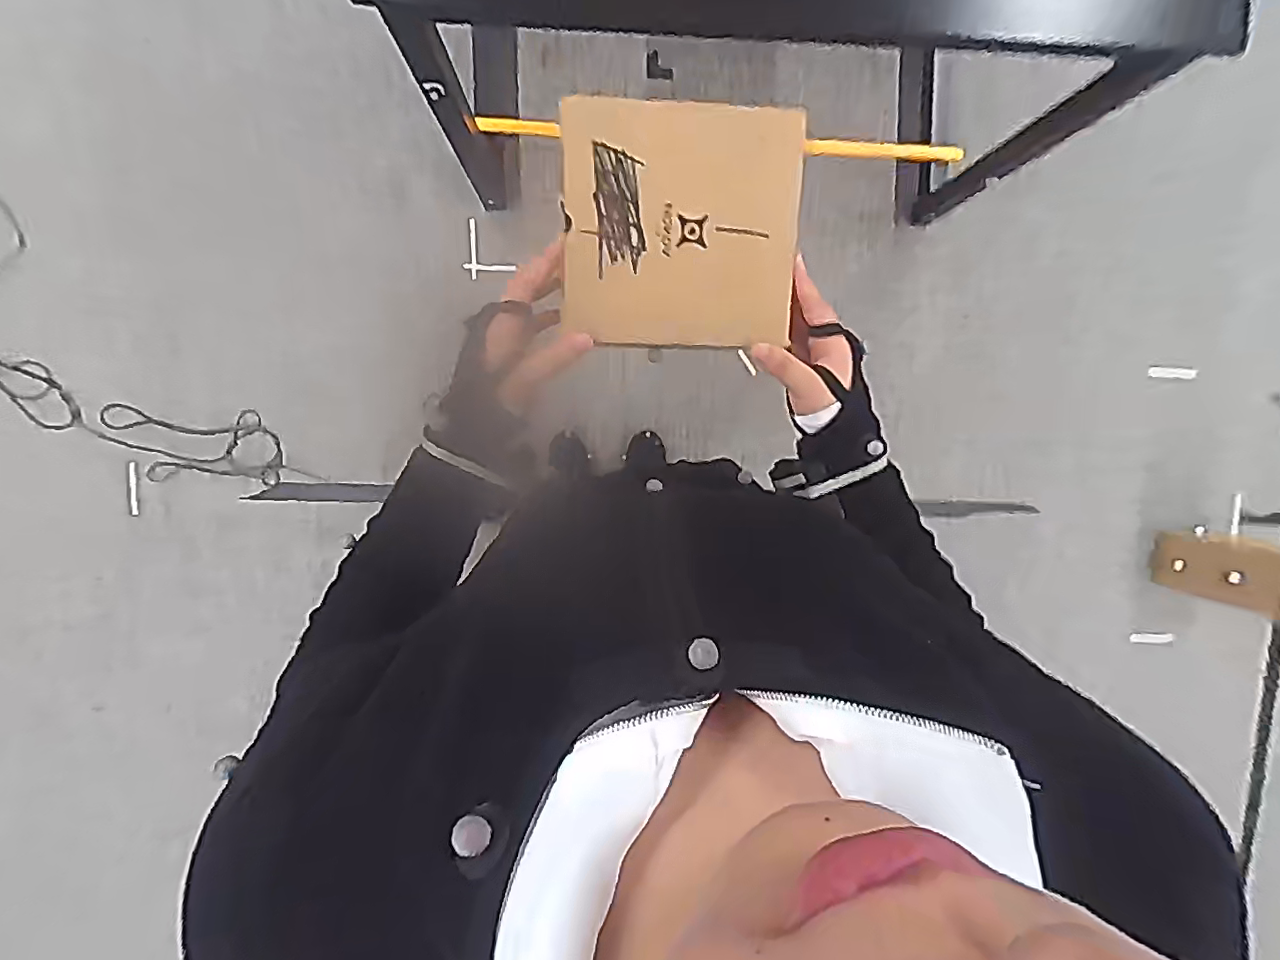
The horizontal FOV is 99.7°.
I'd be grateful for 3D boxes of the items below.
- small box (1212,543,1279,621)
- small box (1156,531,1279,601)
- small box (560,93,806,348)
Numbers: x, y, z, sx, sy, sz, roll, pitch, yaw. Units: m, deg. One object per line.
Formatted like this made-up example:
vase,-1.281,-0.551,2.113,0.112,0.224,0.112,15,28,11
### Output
small box,1.647,0.259,1.383,0.179,0.176,0.168,2,96,-3
small box,1.644,0.244,1.548,0.179,0.176,0.168,1,96,-3
small box,0.025,-0.204,0.474,0.179,0.176,0.168,1,103,-4
